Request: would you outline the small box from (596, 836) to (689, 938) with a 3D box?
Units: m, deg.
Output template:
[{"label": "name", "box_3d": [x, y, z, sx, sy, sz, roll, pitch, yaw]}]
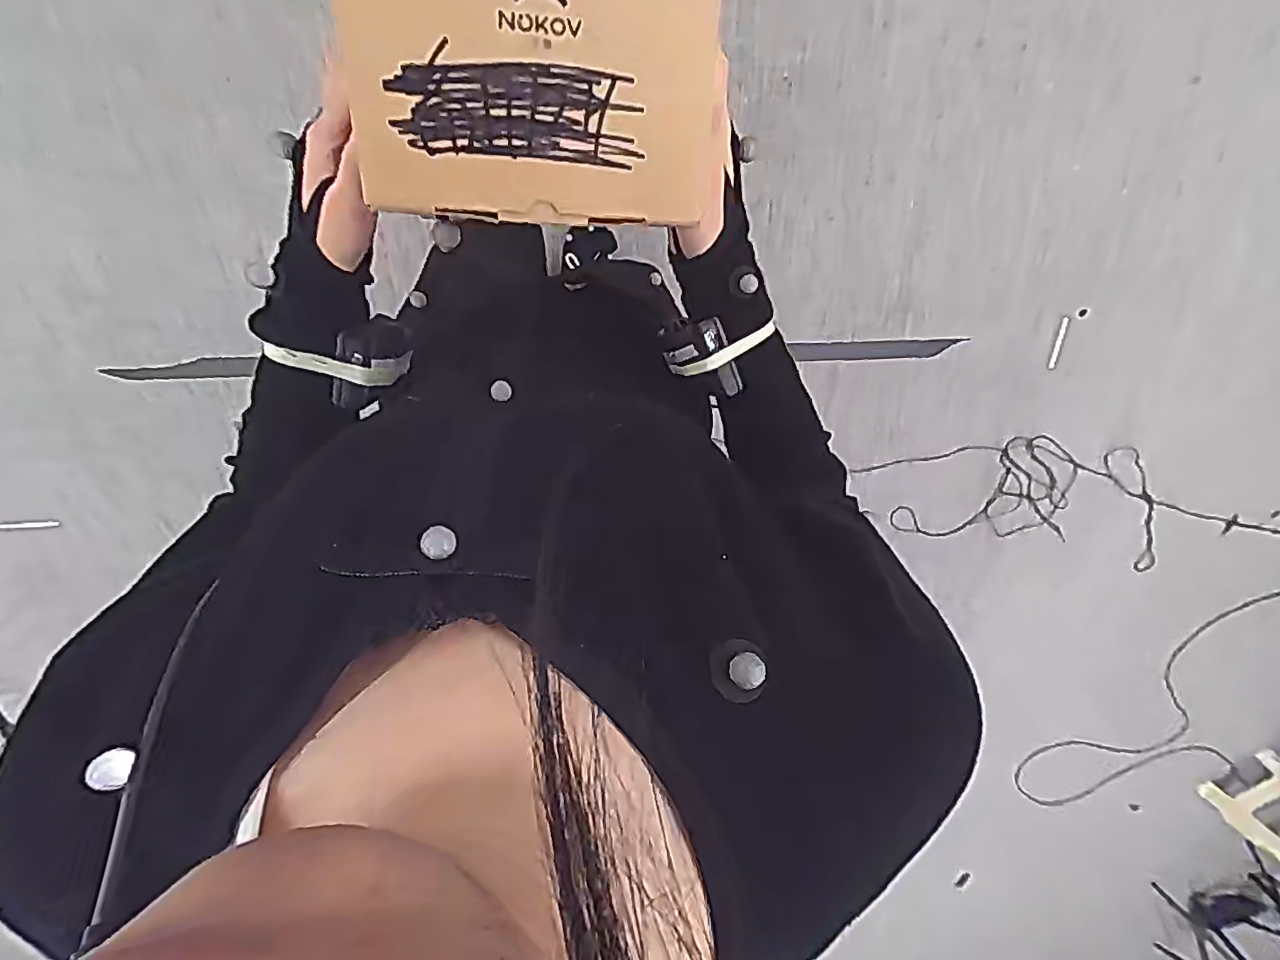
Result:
[{"label": "small box", "box_3d": [-0.001, 0.836, 1.072, 0.168, 0.176, 0.179, -2, 116, -4]}]

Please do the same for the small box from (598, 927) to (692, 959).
[{"label": "small box", "box_3d": [0.013, 0.912, 0.928, 0.168, 0.176, 0.179, -3, 117, -4]}]
